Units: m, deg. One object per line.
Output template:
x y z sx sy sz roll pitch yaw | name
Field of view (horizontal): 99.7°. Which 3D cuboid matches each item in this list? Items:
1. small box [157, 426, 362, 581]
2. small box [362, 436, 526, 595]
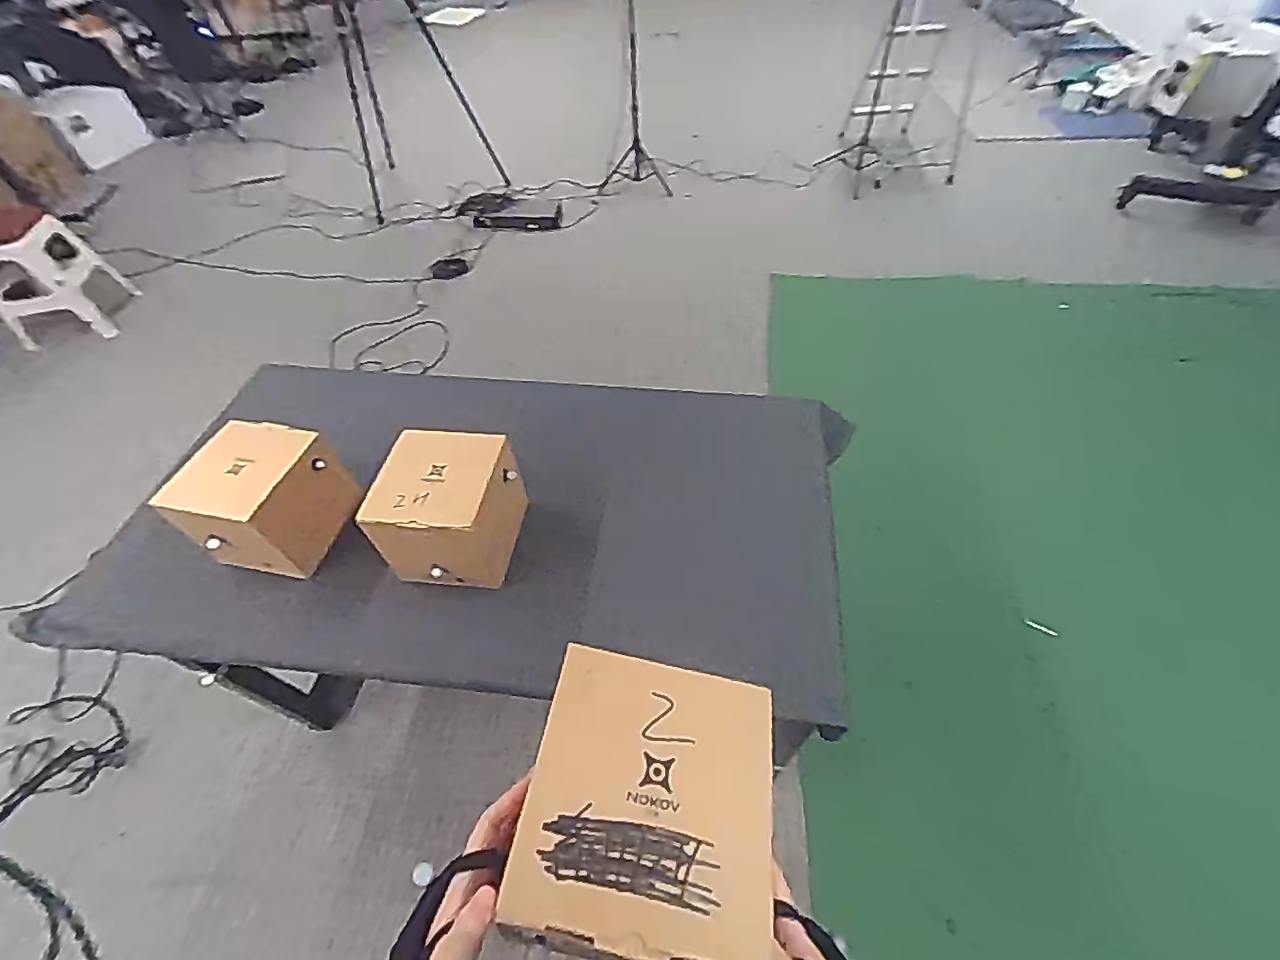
-0.587 0.041 0.866 0.168 0.176 0.179 8 51 10 | small box
-0.286 0.055 0.838 0.168 0.176 0.179 4 50 7 | small box
